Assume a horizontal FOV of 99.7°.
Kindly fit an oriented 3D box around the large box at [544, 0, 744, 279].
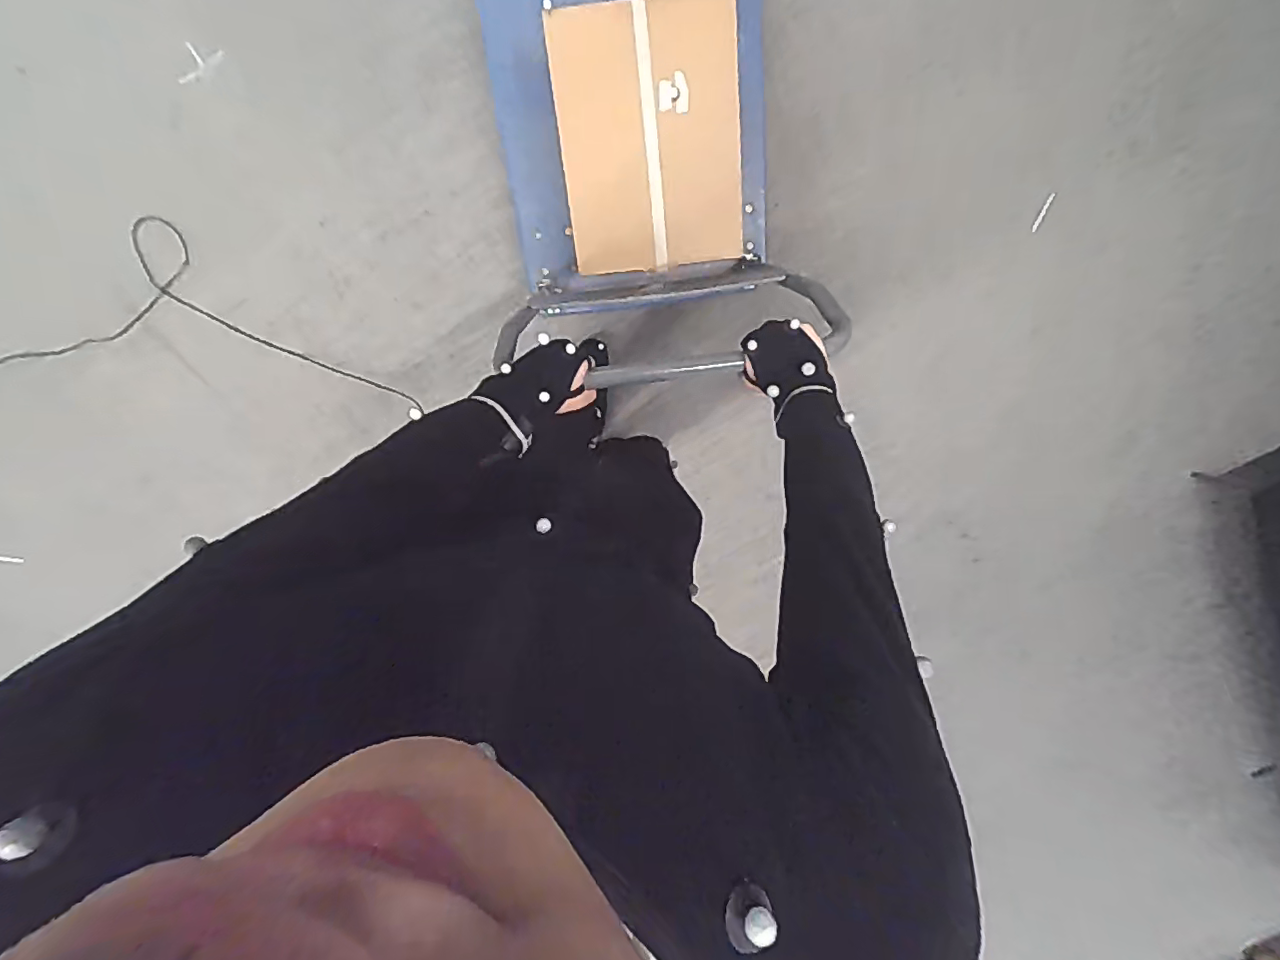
[{"bbox_3d":[0.018,-0.636,1.080,0.320,0.320,0.408,-6,112,1],"label":"large box"}]
